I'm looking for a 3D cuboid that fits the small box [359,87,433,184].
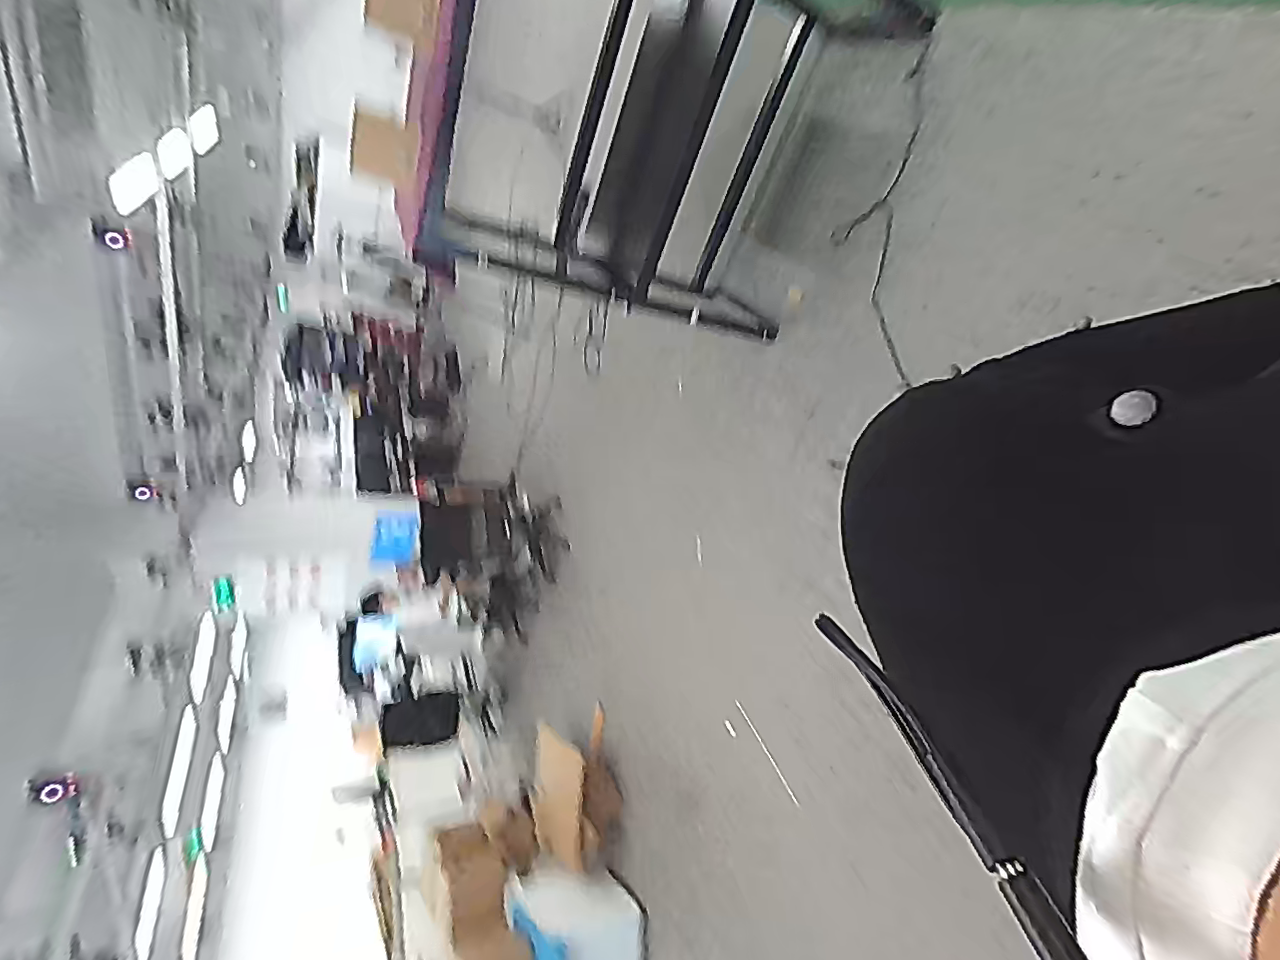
[{"bbox_3d":[-0.685,-0.968,1.521,0.168,0.176,0.179,57,132,48],"label":"small box"}]
